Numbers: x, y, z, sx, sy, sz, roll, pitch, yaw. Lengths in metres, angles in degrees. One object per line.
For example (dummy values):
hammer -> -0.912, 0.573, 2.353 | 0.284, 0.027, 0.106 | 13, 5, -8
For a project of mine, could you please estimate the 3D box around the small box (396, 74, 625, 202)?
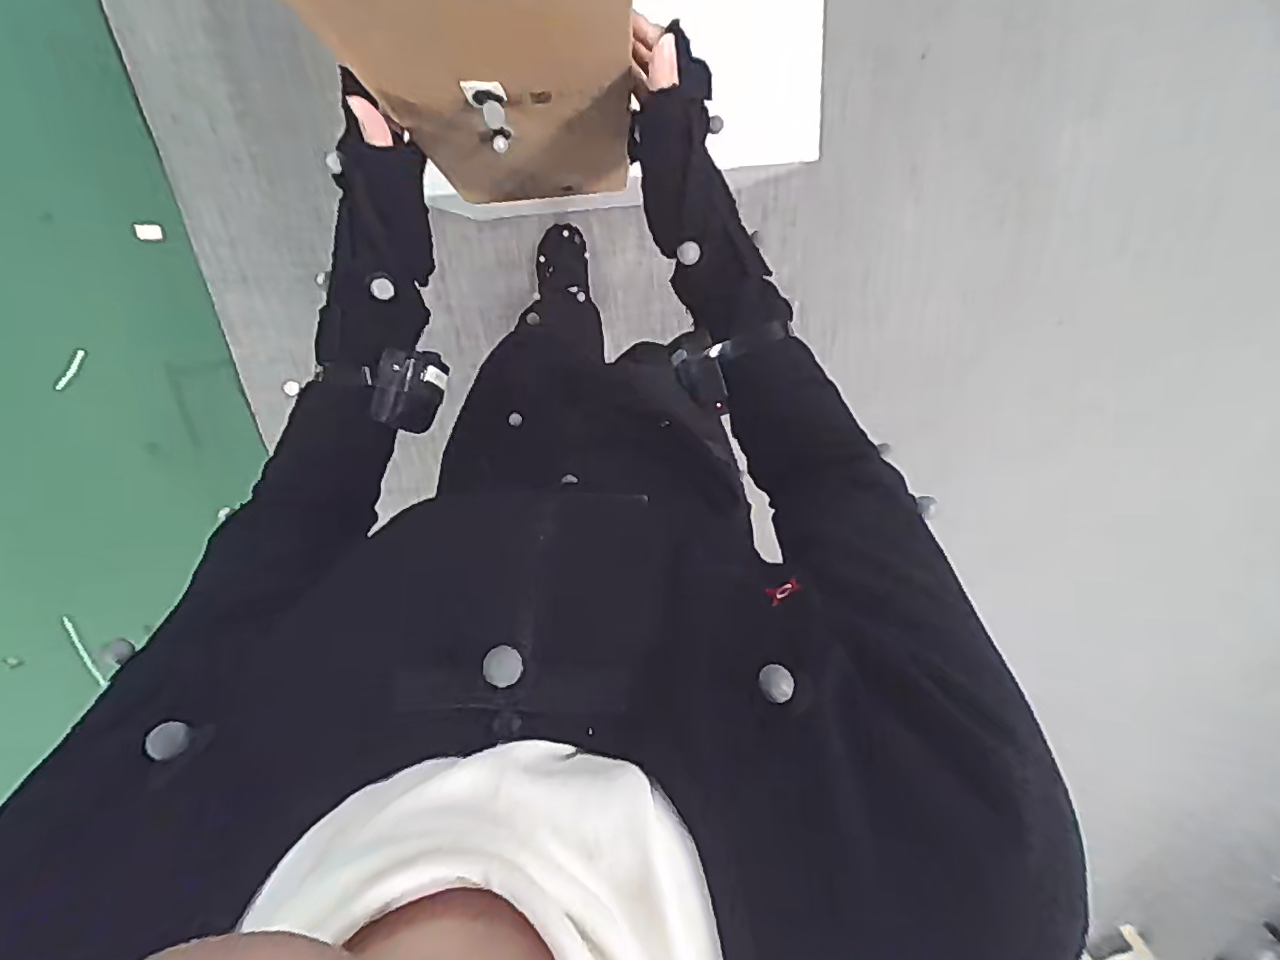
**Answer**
small box -> -0.102, -0.364, 0.460 | 0.168, 0.176, 0.179 | -5, 99, 0

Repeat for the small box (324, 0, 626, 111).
small box -> -0.098, -0.335, 0.282 | 0.168, 0.176, 0.179 | -7, 100, 0
